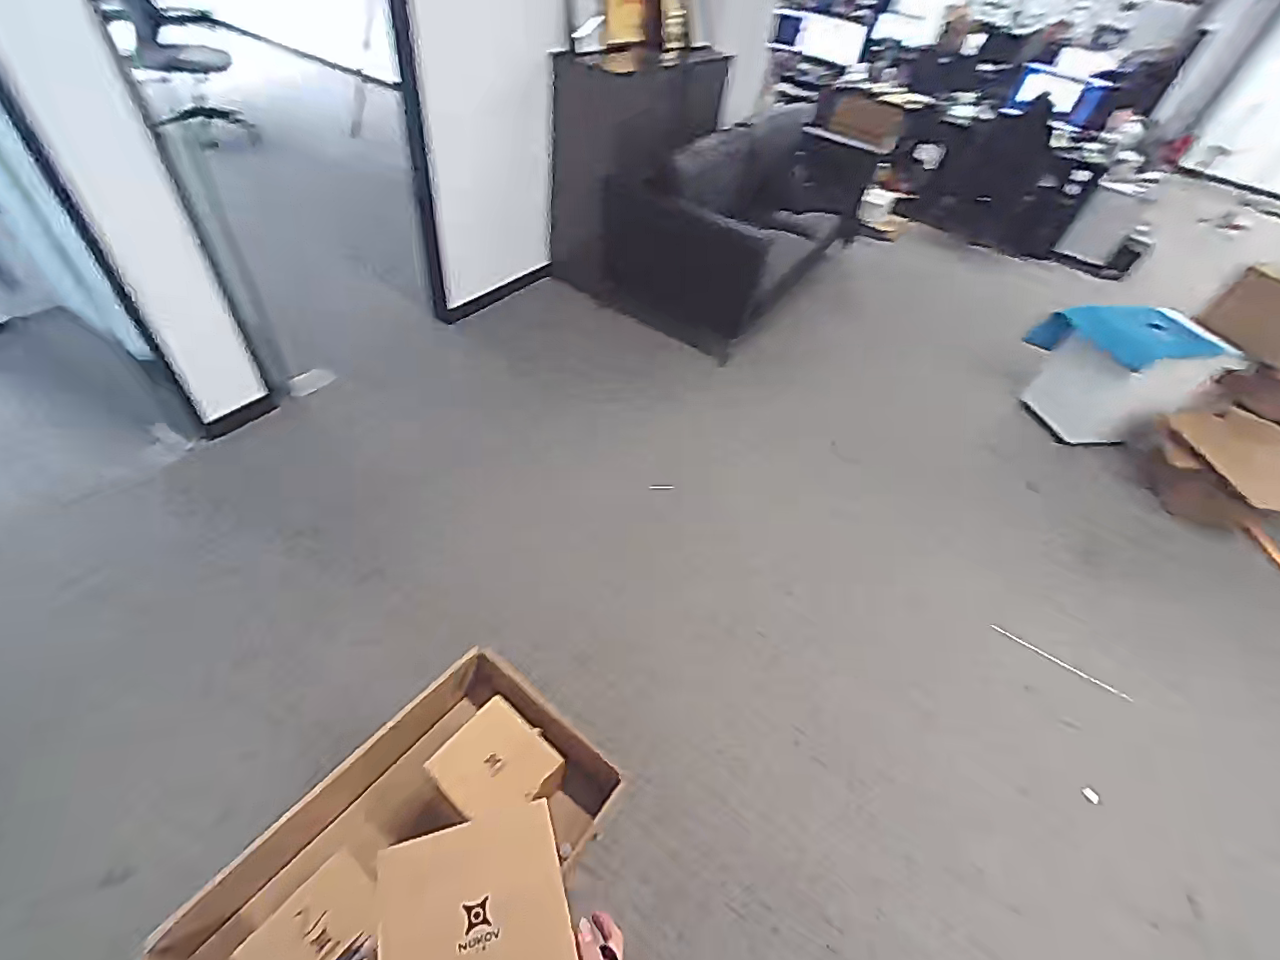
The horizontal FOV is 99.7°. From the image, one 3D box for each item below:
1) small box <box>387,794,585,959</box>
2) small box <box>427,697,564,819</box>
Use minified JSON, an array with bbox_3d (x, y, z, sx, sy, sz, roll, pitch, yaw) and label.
[{"bbox_3d":[-0.153,0.456,0.542,0.168,0.176,0.179,-6,45,-18],"label":"small box"},{"bbox_3d":[-0.262,0.545,0.993,0.179,0.176,0.168,34,50,20],"label":"small box"}]
